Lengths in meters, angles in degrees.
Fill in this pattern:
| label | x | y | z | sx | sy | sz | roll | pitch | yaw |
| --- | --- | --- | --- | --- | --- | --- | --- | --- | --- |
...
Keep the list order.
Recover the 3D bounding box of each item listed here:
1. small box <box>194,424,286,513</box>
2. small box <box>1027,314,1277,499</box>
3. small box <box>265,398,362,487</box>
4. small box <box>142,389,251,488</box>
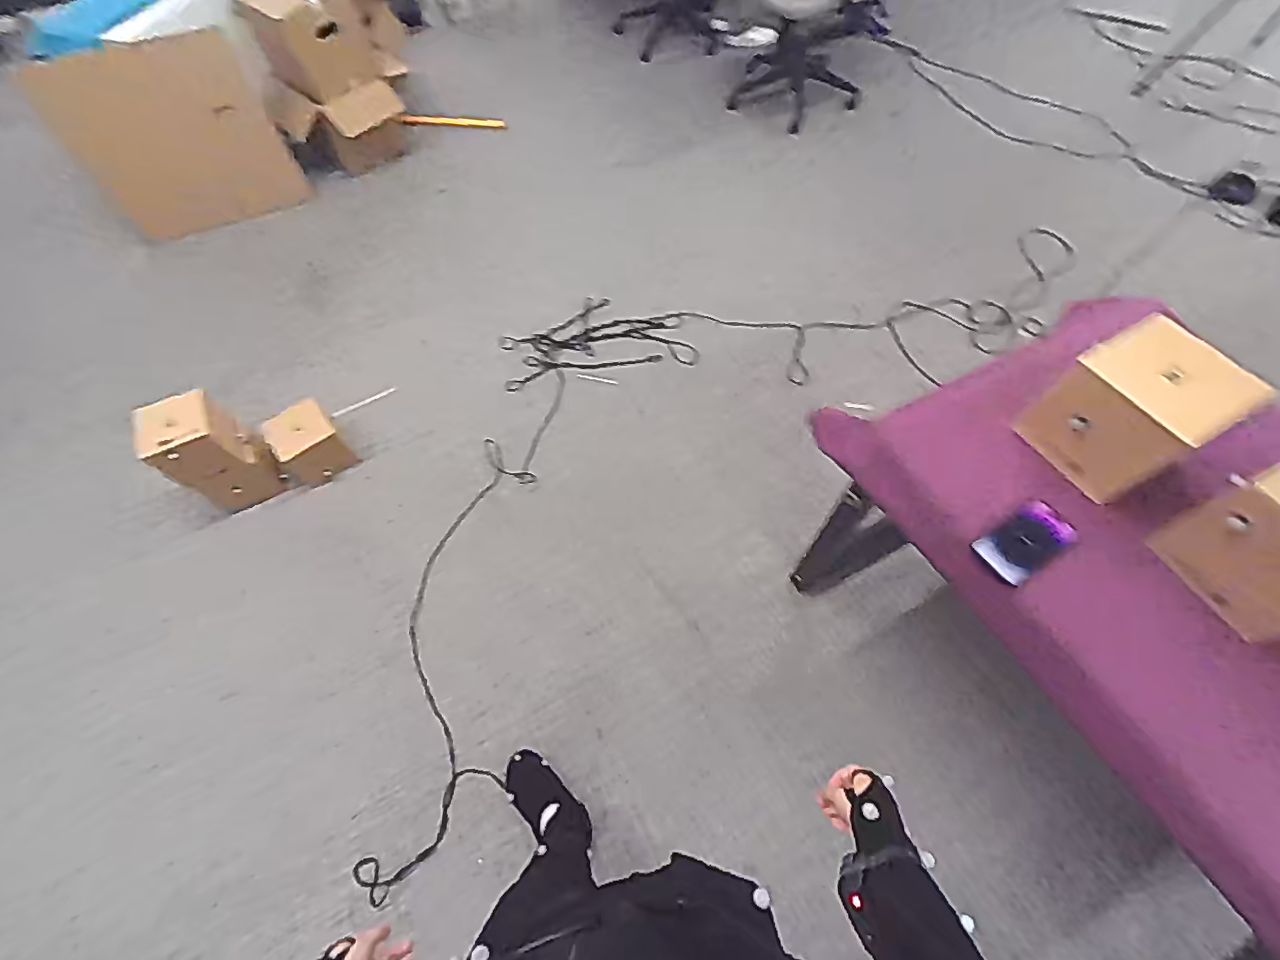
| label | x | y | z | sx | sy | sz | roll | pitch | yaw |
| --- | --- | --- | --- | --- | --- | --- | --- | --- | --- |
| small box | -1.202 | -0.032 | 1.627 | 0.179 | 0.176 | 0.168 | -27 | 62 | -12 |
| small box | 0.713 | -0.100 | 0.784 | 0.179 | 0.176 | 0.168 | -27 | 63 | -14 |
| small box | -1.000 | -0.112 | 1.668 | 0.168 | 0.176 | 0.179 | -36 | 66 | -16 |
| small box | -1.211 | -0.110 | 1.484 | 0.168 | 0.176 | 0.179 | -25 | 62 | -12 |
